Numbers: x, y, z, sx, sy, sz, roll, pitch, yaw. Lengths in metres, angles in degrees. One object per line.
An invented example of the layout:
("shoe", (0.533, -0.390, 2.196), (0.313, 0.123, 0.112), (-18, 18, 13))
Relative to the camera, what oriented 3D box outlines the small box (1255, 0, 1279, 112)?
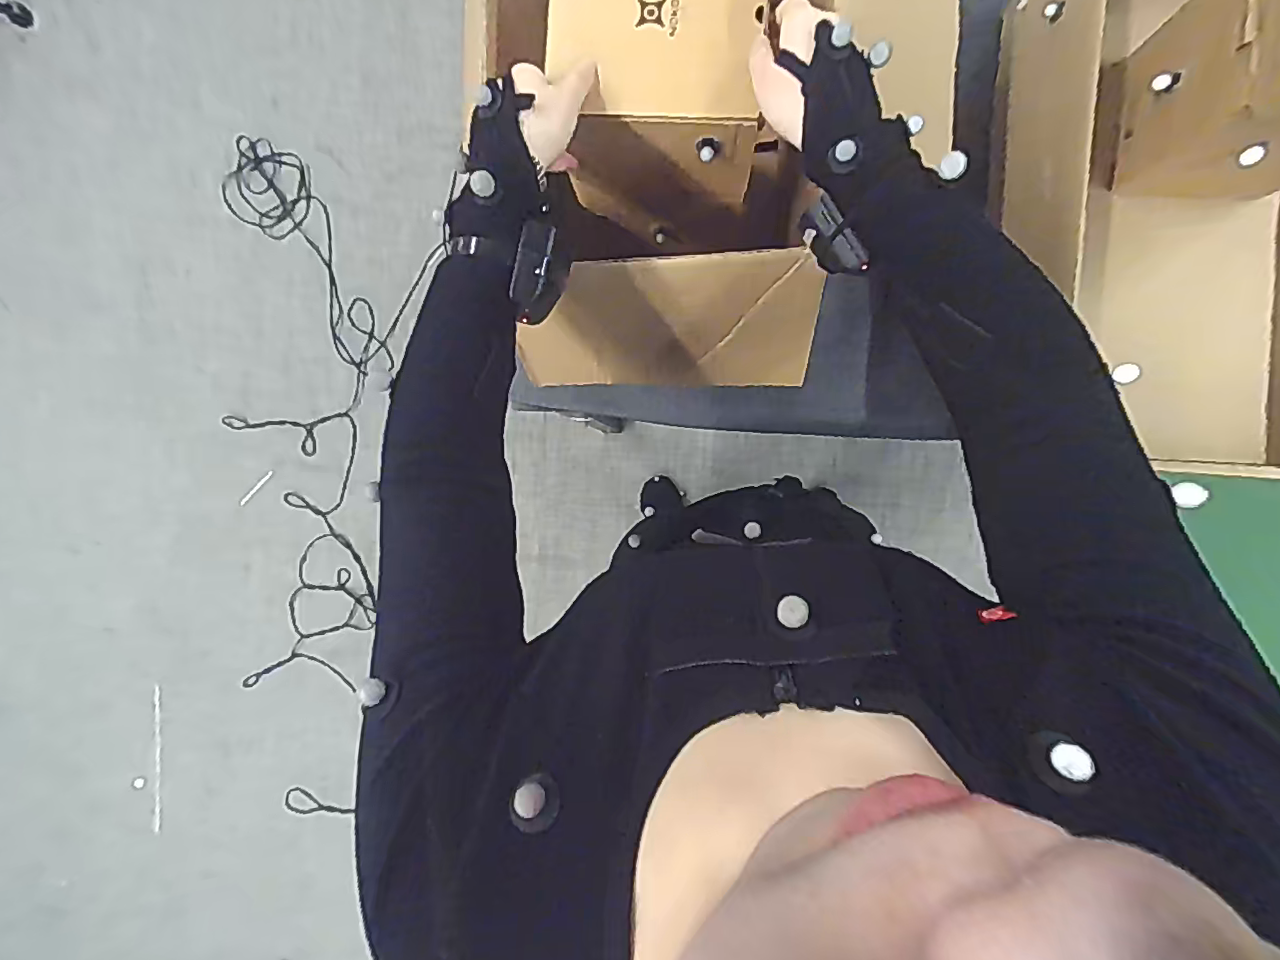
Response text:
("small box", (0.645, -0.419, 0.412), (0.168, 0.176, 0.179), (4, 93, 6))
